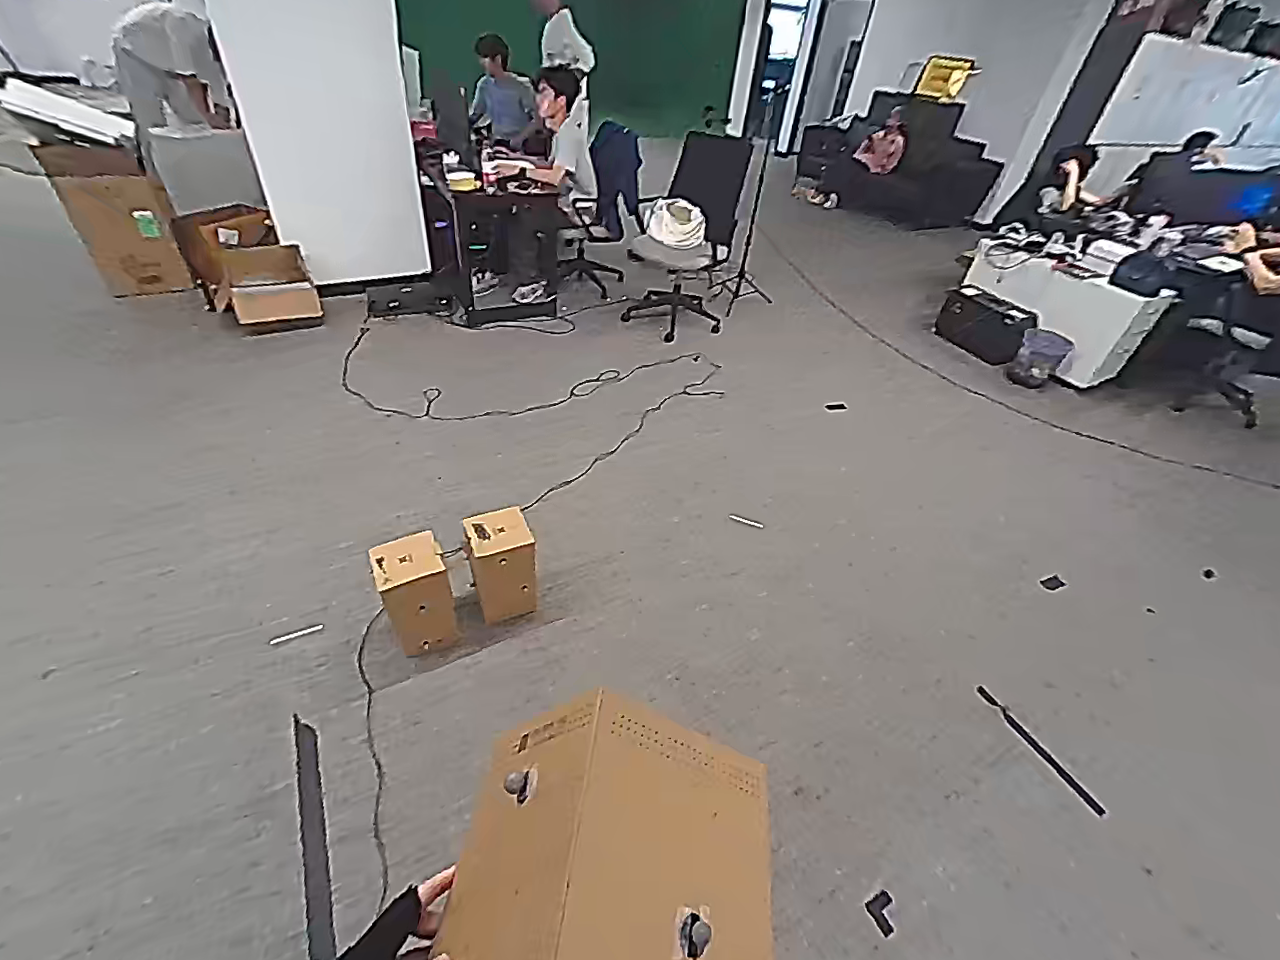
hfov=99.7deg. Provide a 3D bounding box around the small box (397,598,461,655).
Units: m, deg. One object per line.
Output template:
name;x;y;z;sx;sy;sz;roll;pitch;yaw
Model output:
small box;-0.656;0.398;1.652;0.168;0.176;0.179;-16;46;-23

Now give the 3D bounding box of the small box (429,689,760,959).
small box;-0.020;0.286;0.416;0.179;0.168;0.176;35;40;-21

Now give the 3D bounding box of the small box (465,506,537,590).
small box;-0.421;0.211;1.651;0.179;0.176;0.168;-13;45;-25

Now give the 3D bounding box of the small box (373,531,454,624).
small box;-0.640;0.277;1.542;0.179;0.176;0.168;-16;45;-24

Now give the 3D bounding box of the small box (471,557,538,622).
small box;-0.438;0.334;1.760;0.179;0.176;0.168;-13;44;-23
